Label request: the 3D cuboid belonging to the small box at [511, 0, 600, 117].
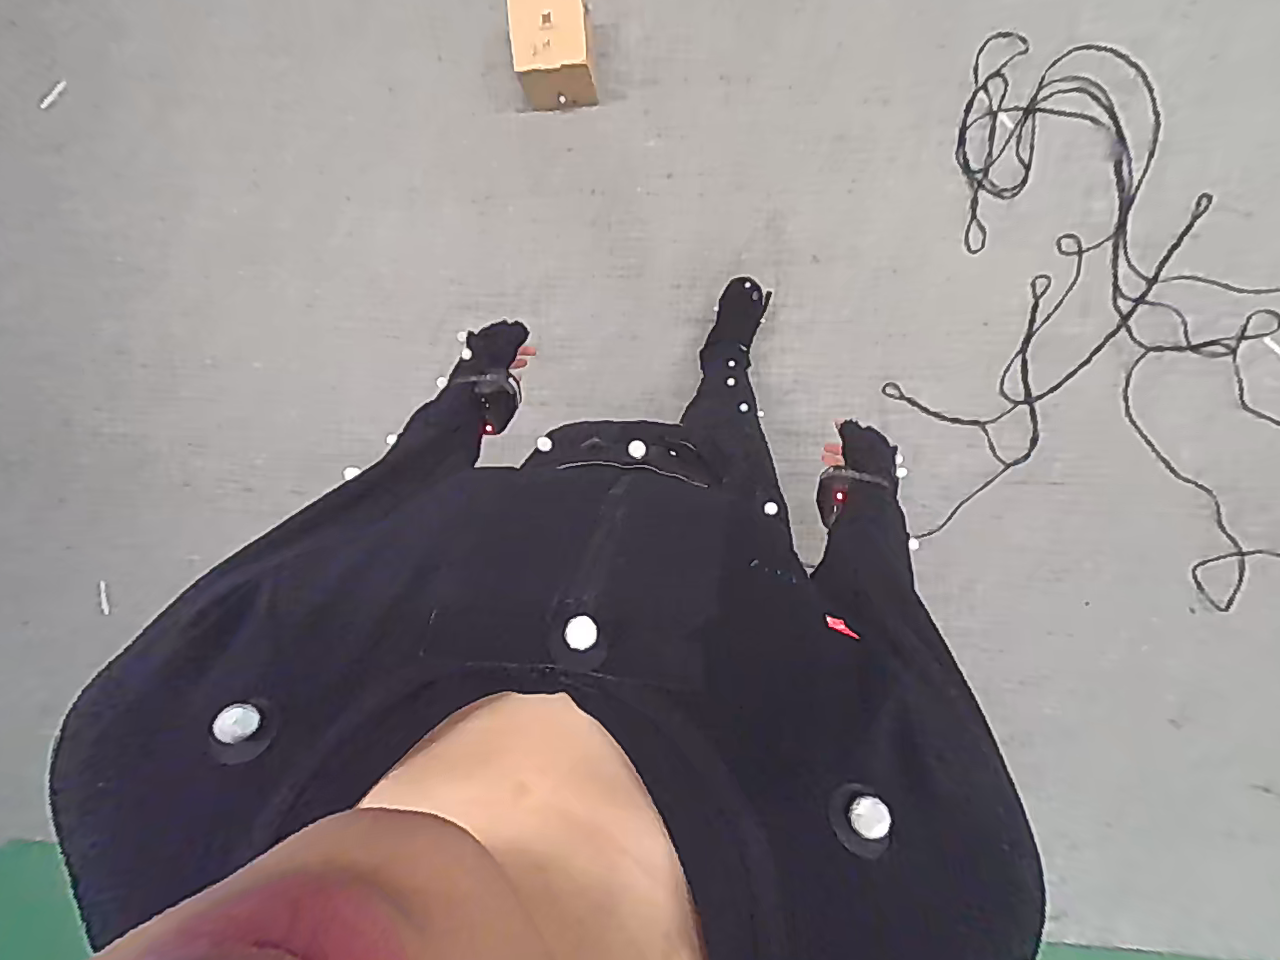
[{"bbox_3d":[-0.189,-0.980,1.248,0.168,0.176,0.179,-3,98,6],"label":"small box"}]
